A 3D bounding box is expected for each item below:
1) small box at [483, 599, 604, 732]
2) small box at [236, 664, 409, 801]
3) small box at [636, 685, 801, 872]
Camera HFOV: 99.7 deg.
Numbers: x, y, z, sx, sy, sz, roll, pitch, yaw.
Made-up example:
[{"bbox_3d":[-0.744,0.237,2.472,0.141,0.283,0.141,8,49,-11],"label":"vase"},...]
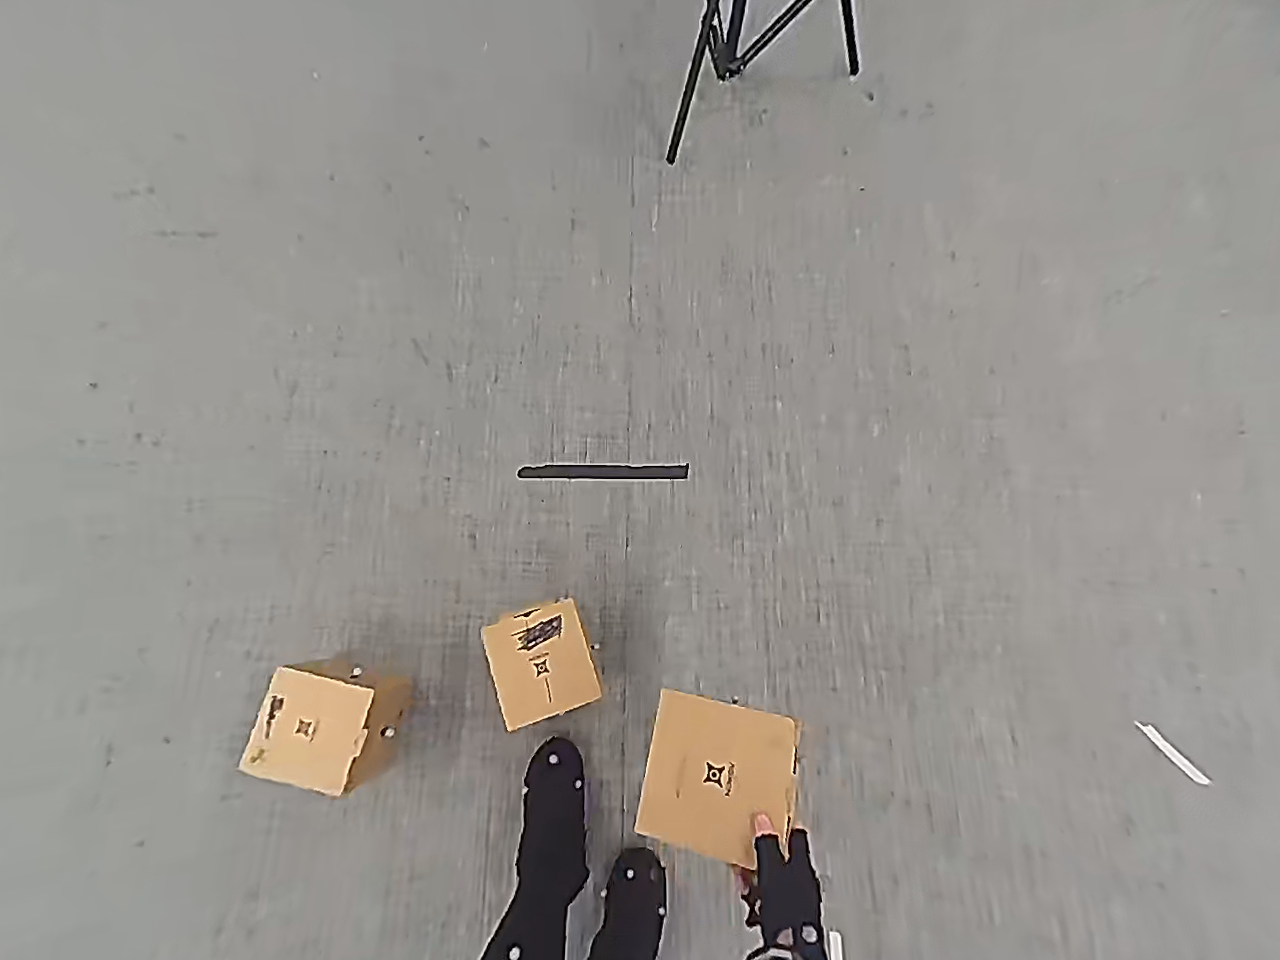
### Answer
[{"bbox_3d":[-0.167,0.326,0.977,0.168,0.176,0.179,-18,78,-6],"label":"small box"},{"bbox_3d":[-0.534,0.424,0.940,0.179,0.176,0.168,14,75,2],"label":"small box"},{"bbox_3d":[0.111,0.379,0.712,0.179,0.176,0.168,6,66,17],"label":"small box"}]
